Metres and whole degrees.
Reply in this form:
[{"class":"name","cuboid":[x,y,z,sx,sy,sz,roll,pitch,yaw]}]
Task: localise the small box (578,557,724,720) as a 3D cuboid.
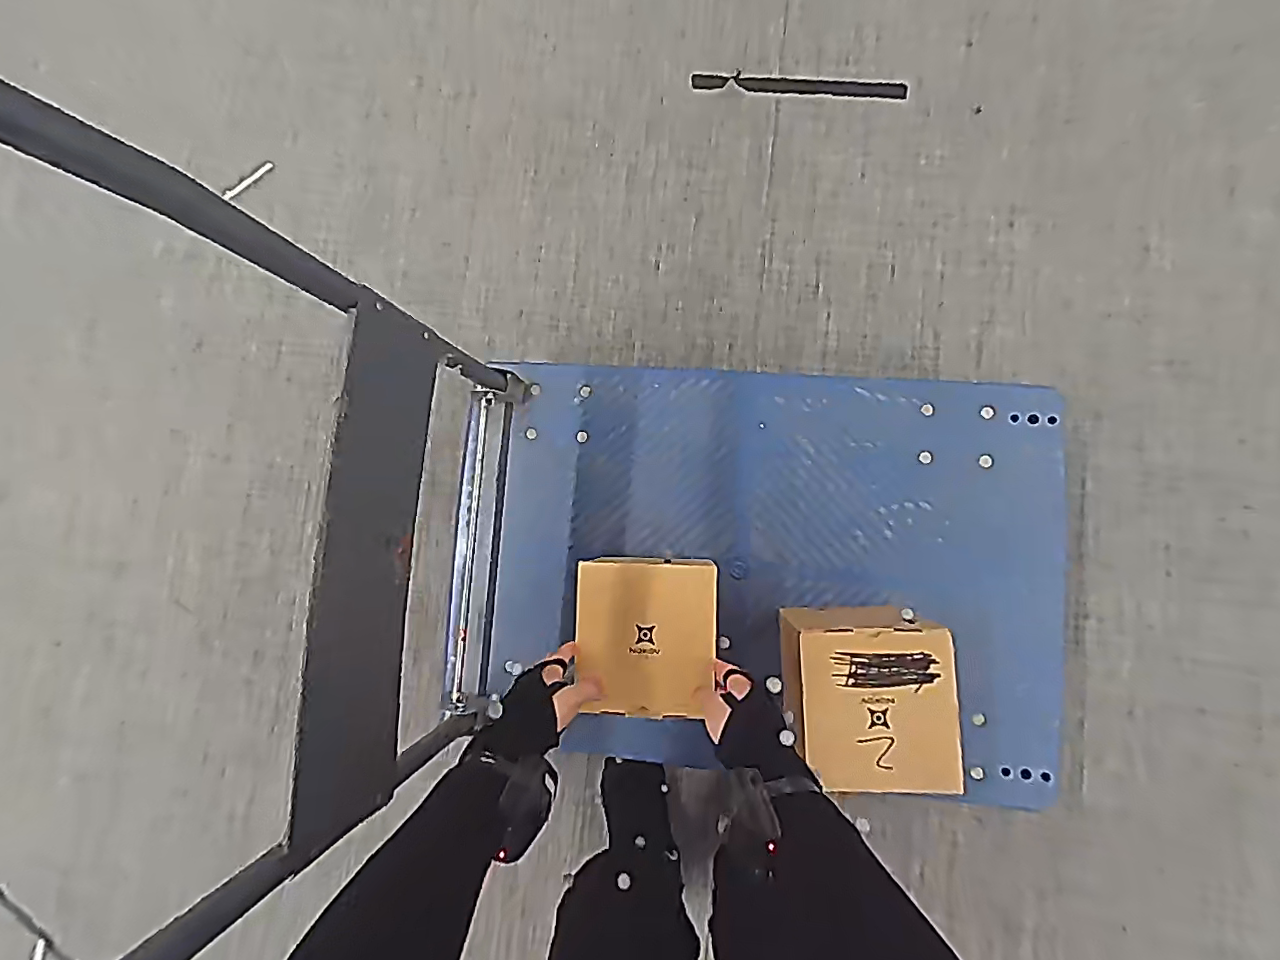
[{"class":"small box","cuboid":[0.017,0.191,0.702,0.168,0.176,0.179,1,85,4]}]
